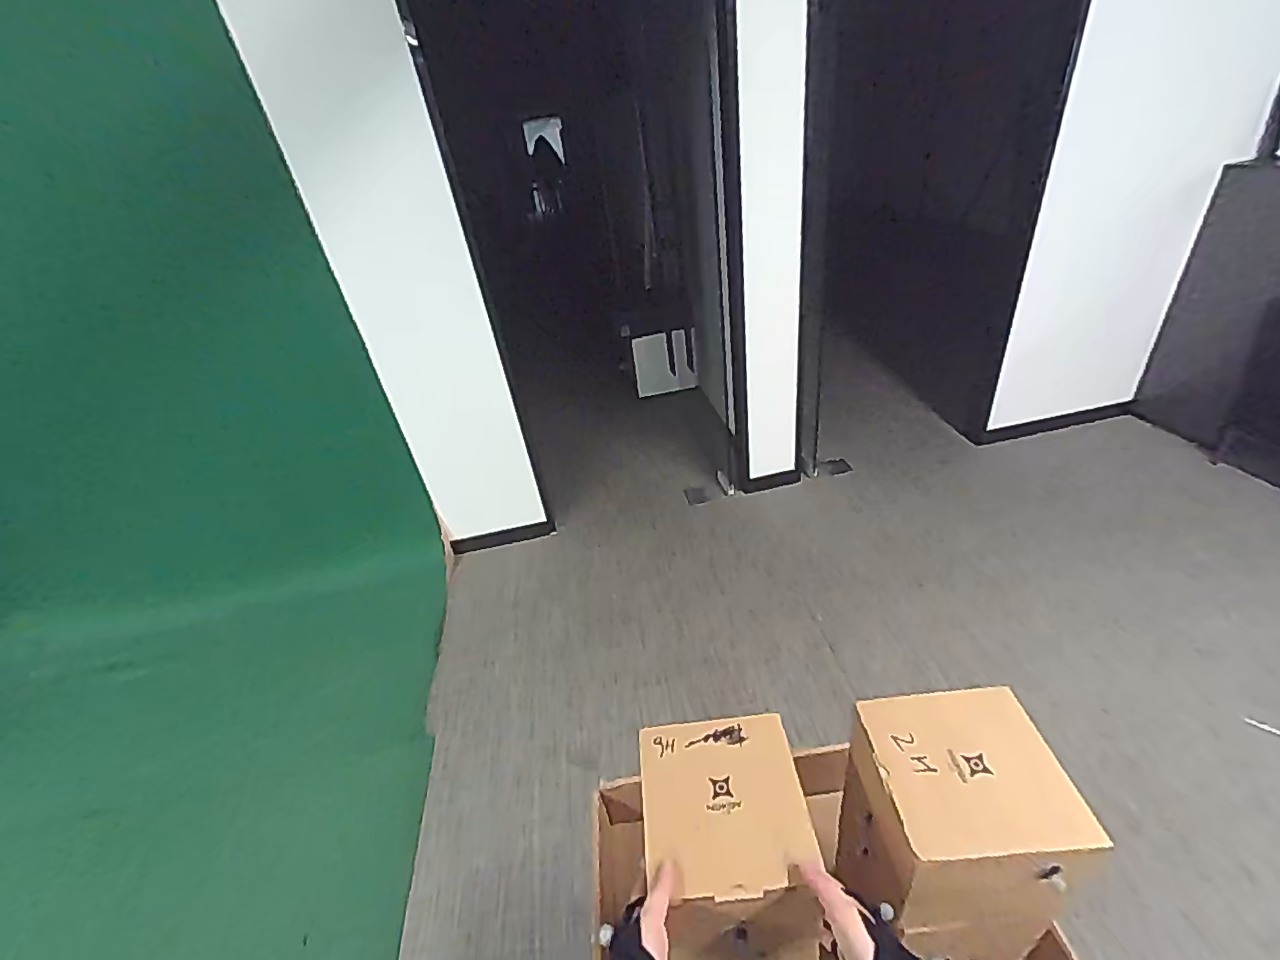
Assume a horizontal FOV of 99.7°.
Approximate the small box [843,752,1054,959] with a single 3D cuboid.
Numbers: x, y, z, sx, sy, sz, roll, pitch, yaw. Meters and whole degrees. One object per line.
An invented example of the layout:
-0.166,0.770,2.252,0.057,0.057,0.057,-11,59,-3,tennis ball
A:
0.370,0.484,0.692,0.168,0.176,0.179,-9,34,3,small box
